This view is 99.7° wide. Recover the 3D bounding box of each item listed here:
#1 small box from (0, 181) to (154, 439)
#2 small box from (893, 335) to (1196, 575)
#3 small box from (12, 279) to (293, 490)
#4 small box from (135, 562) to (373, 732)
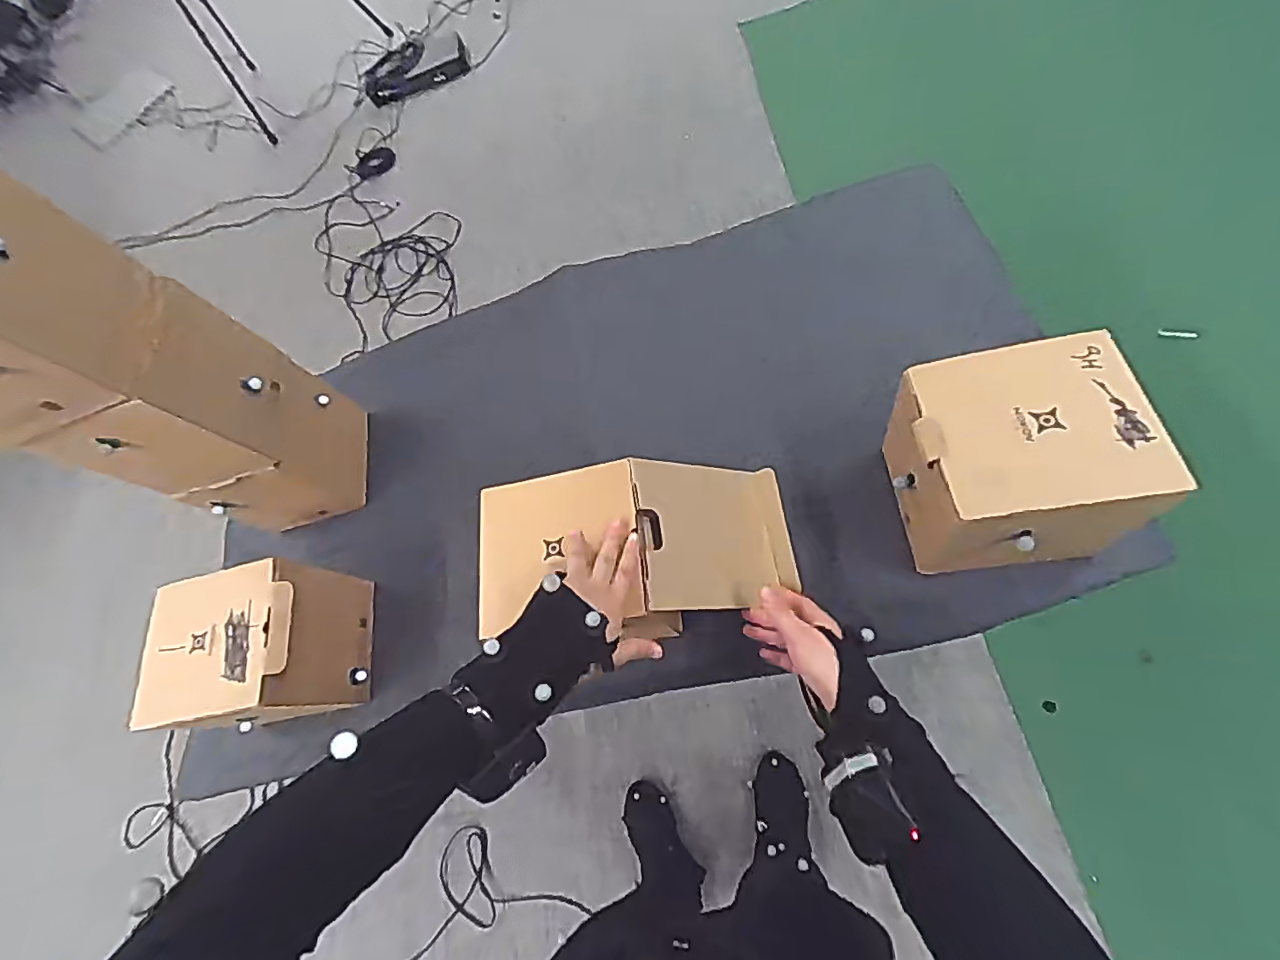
[{"bbox_3d":[-0.612,-0.156,0.507,0.168,0.176,0.179,-18,65,7],"label":"small box"},{"bbox_3d":[0.365,-0.011,0.539,0.179,0.176,0.168,-10,63,13],"label":"small box"},{"bbox_3d":[-0.566,-0.101,0.653,0.179,0.176,0.168,-14,67,9],"label":"small box"},{"bbox_3d":[-0.469,0.213,0.686,0.179,0.176,0.168,-14,66,10],"label":"small box"}]
